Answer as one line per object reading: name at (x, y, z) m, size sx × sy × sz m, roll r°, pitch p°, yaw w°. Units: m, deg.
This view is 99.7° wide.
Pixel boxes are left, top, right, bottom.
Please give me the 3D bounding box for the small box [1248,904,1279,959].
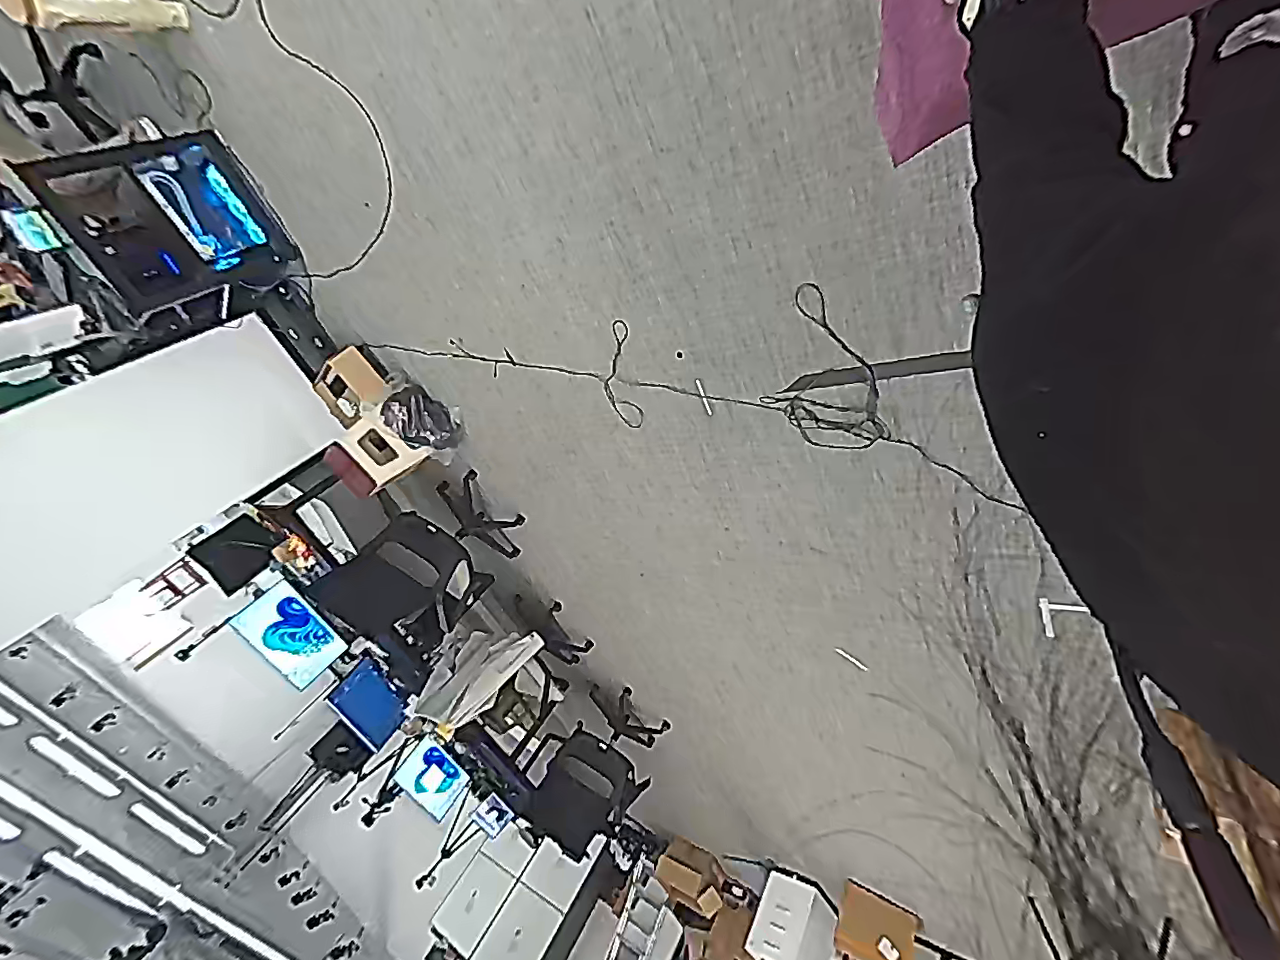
small box at (1.545, 1.127, 1.240) m, size 0.168 × 0.176 × 0.179 m, roll 3°, pitch 128°, yaw 38°
